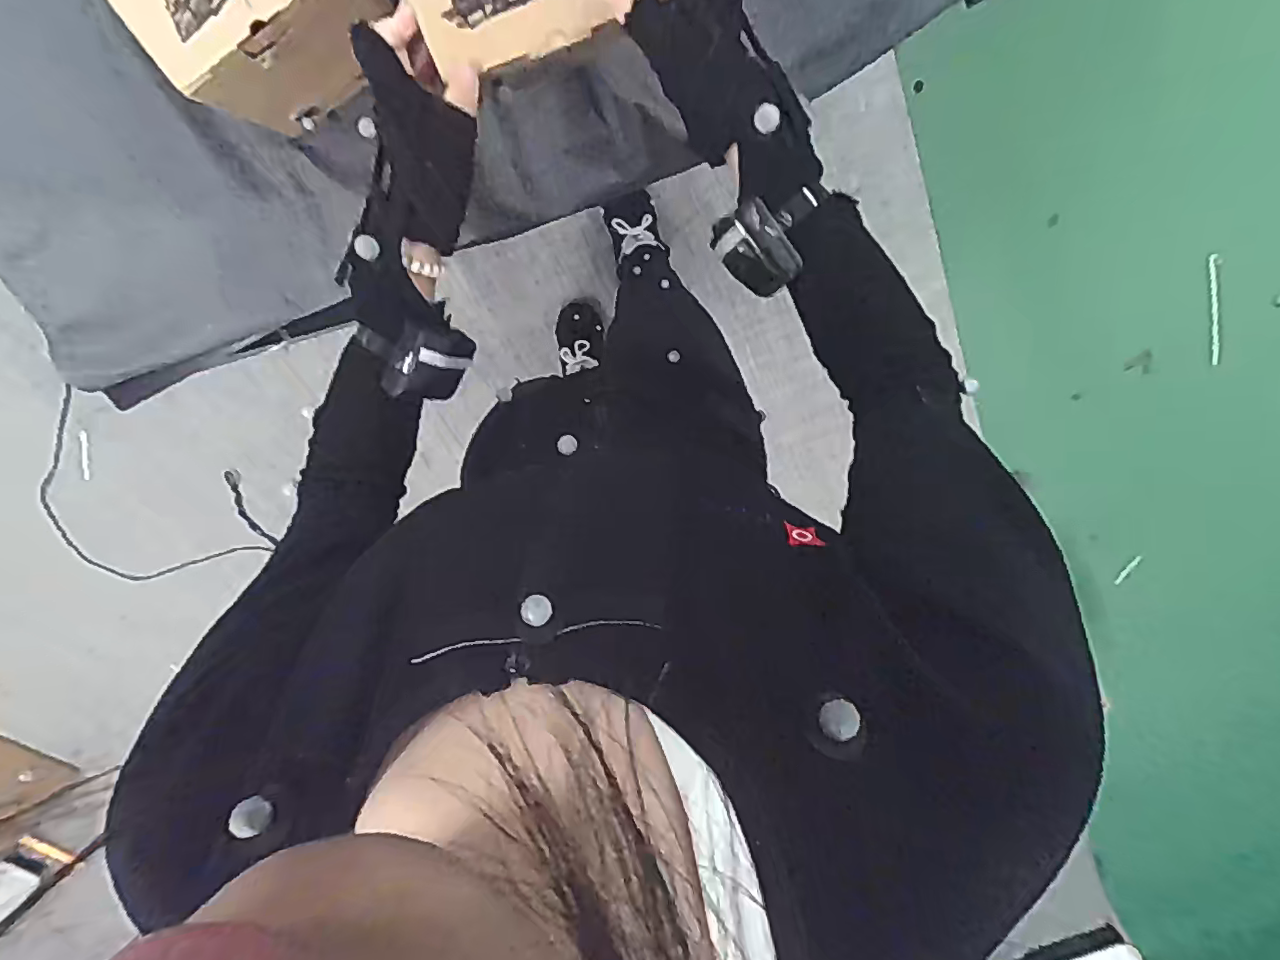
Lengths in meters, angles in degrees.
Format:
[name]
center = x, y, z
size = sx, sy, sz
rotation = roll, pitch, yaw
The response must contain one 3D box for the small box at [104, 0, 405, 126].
[small box]
center = -0.337, -0.435, 0.458
size = 0.168, 0.176, 0.179
rotation = -29, 111, 8
